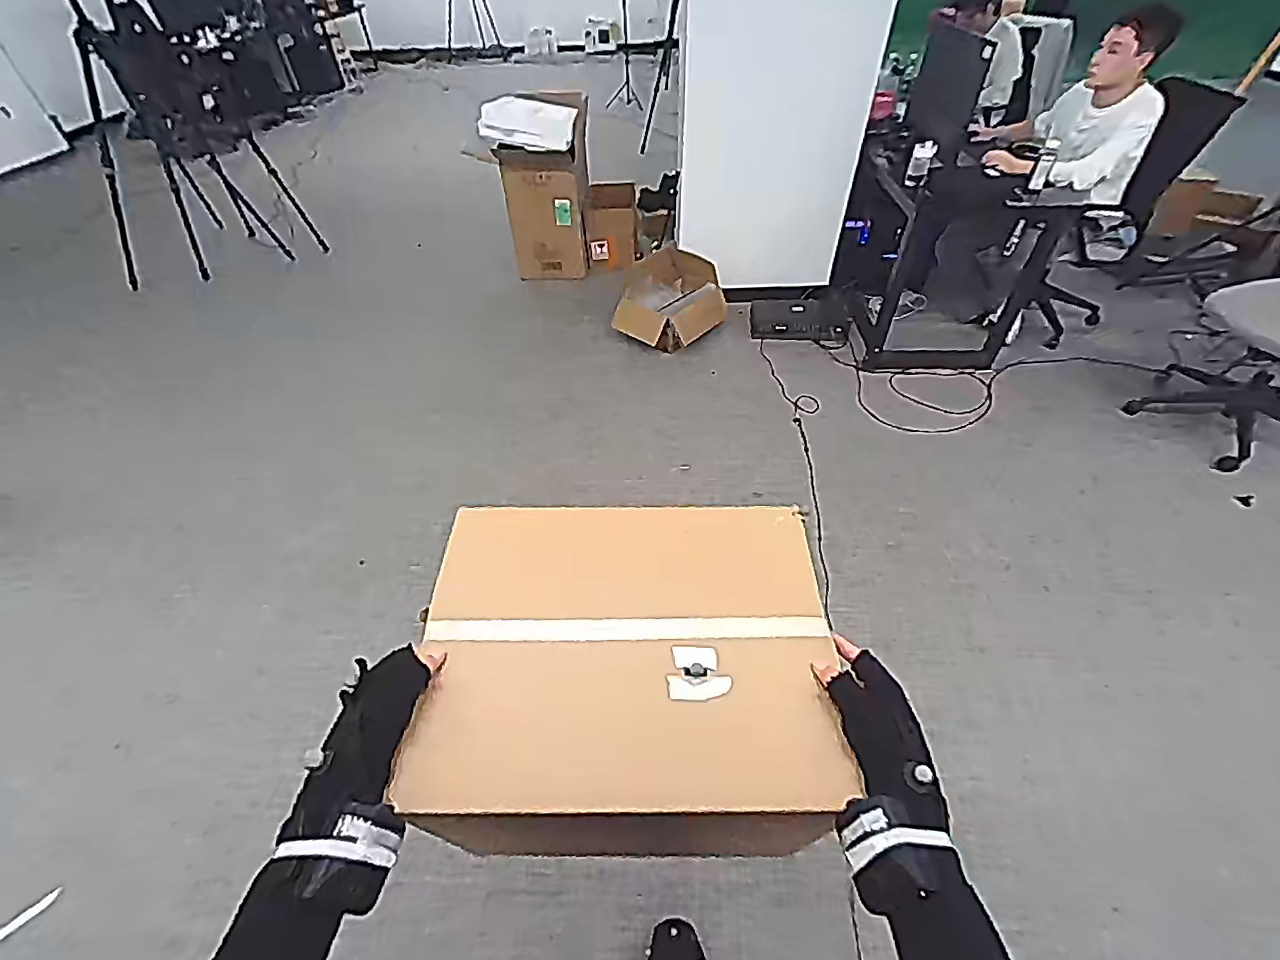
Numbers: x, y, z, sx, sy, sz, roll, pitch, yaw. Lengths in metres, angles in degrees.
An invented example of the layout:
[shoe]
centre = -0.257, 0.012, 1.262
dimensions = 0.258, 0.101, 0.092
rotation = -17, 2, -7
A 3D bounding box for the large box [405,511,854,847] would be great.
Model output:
[large box]
centre = -0.013, 0.253, 0.679
dimensions = 0.408, 0.320, 0.320
rotation = 0, 51, -1
